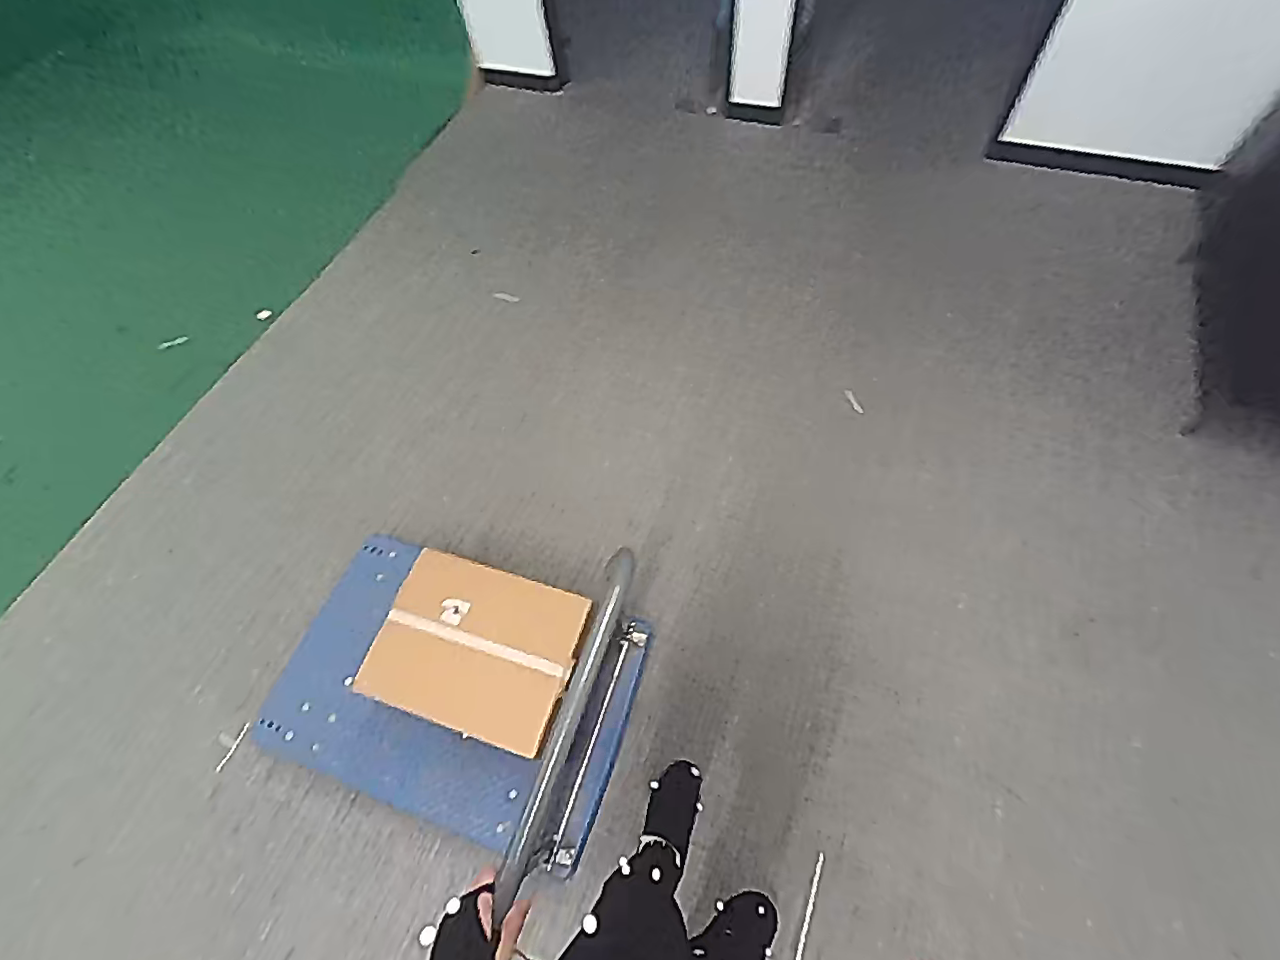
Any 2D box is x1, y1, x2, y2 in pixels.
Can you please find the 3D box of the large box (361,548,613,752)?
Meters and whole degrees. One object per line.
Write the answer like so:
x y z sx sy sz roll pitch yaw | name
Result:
-0.309 0.392 1.225 0.408 0.320 0.320 15 64 13 | large box
